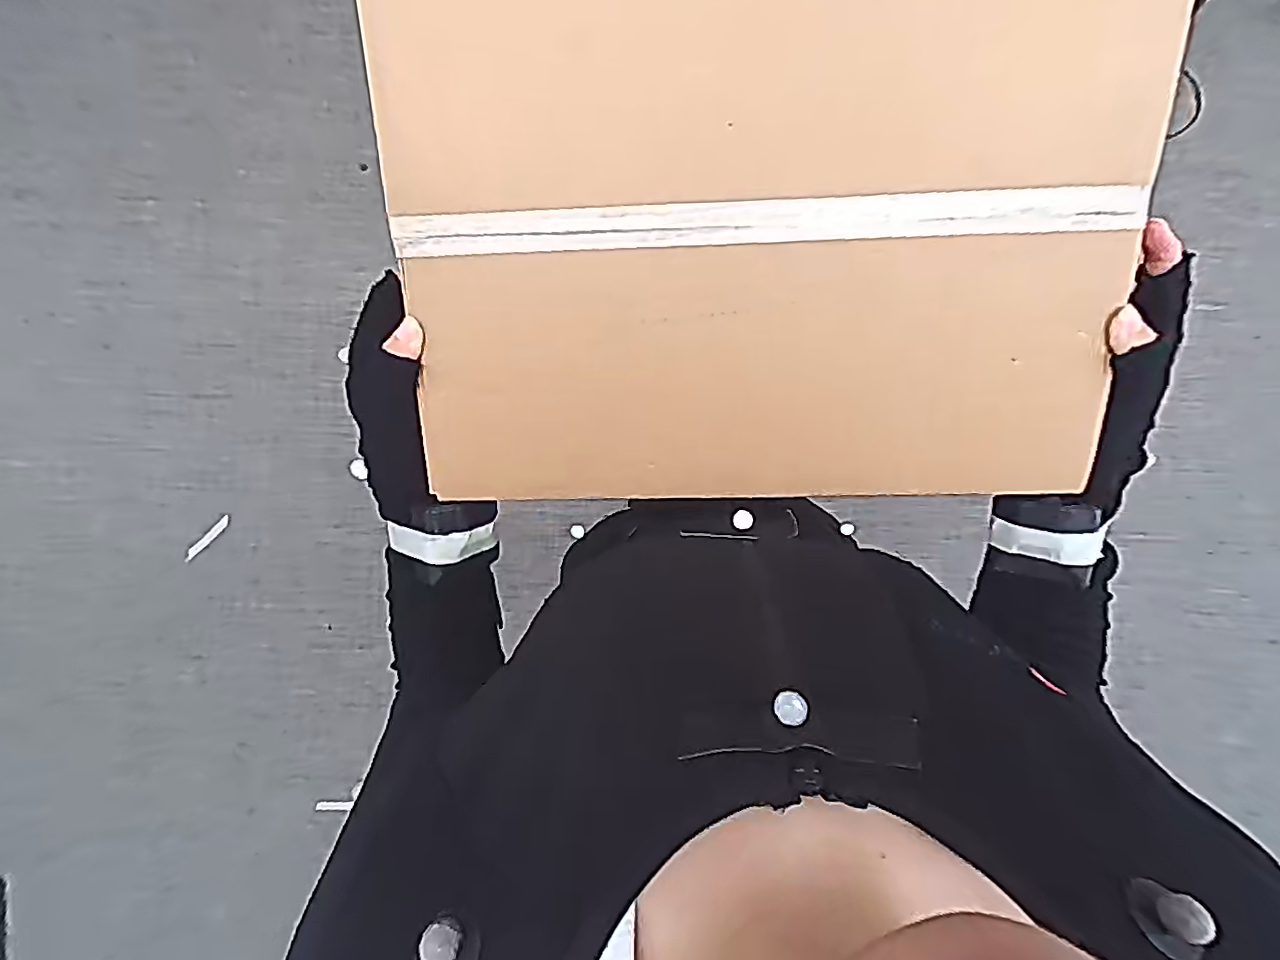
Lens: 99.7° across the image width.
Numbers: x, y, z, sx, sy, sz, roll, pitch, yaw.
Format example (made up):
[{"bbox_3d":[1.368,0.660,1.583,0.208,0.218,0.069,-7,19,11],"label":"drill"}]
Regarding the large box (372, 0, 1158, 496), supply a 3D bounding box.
[{"bbox_3d":[0.066,-0.184,0.448,0.408,0.320,0.320,-1,108,2],"label":"large box"}]
